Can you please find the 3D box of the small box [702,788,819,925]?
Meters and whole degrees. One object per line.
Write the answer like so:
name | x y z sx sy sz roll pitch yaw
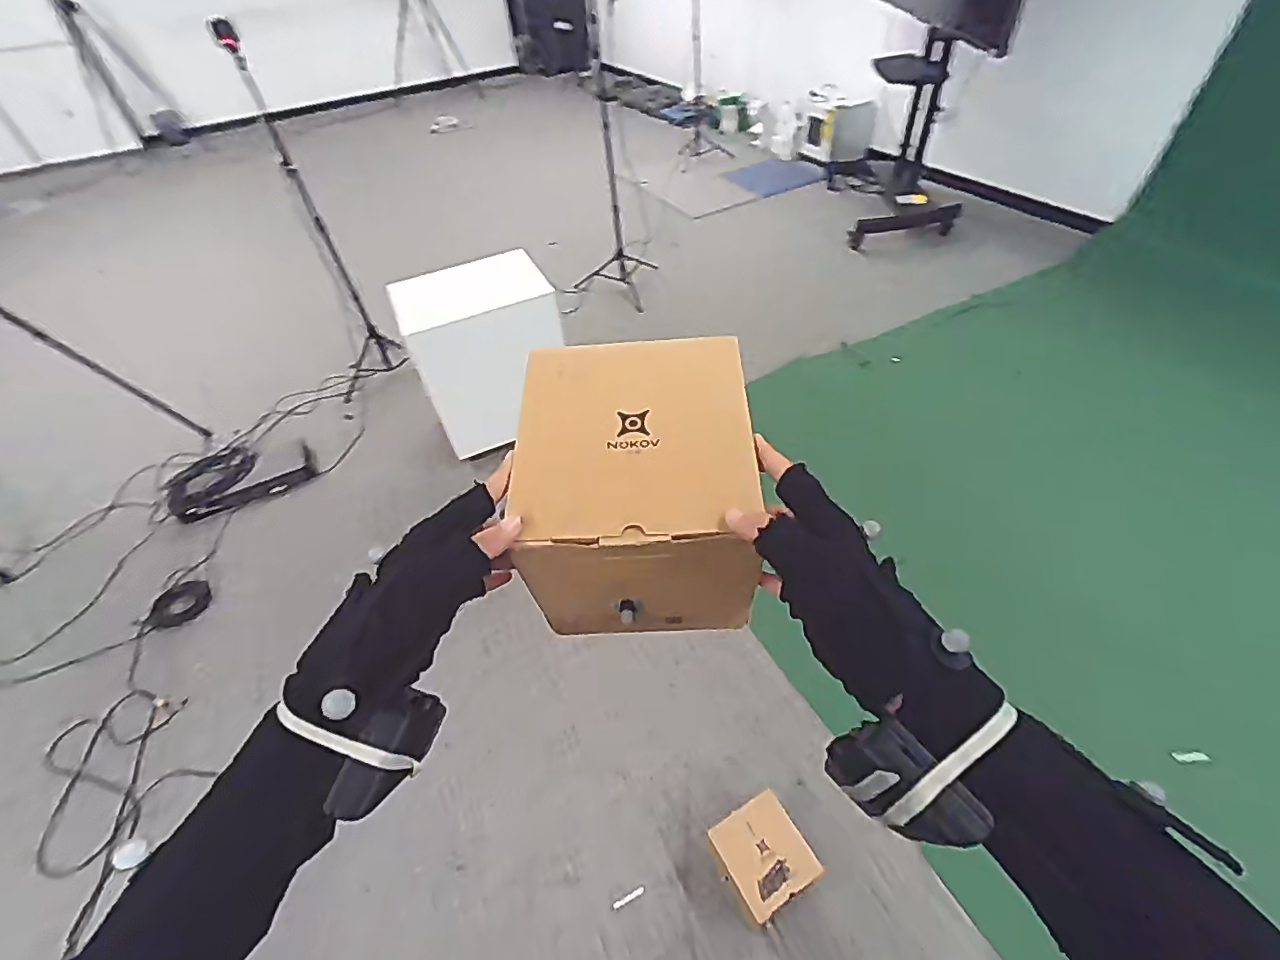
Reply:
small box | 0.246 0.796 1.142 0.168 0.176 0.179 -25 50 -17
